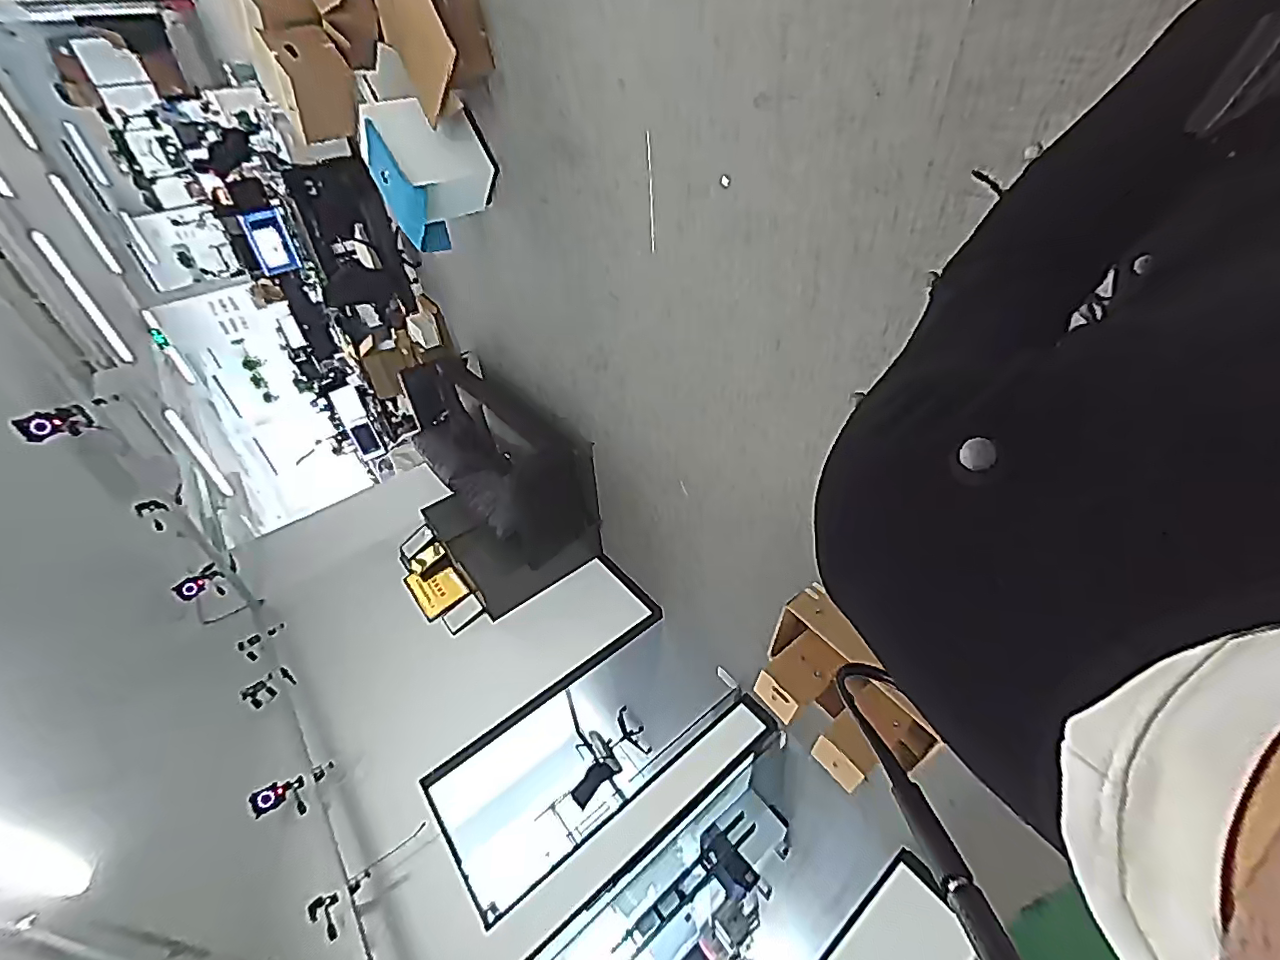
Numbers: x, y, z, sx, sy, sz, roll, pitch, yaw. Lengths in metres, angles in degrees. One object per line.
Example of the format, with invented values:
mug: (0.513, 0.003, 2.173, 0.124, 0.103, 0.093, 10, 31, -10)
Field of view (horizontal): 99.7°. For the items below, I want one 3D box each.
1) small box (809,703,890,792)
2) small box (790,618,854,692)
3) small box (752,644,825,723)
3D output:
small box: (0.693, 0.880, 1.786, 0.168, 0.176, 0.179, 41, 147, 34)
small box: (0.658, 0.647, 1.993, 0.168, 0.176, 0.179, 42, 147, 33)
small box: (0.529, 0.719, 1.920, 0.168, 0.176, 0.179, 43, 148, 32)
